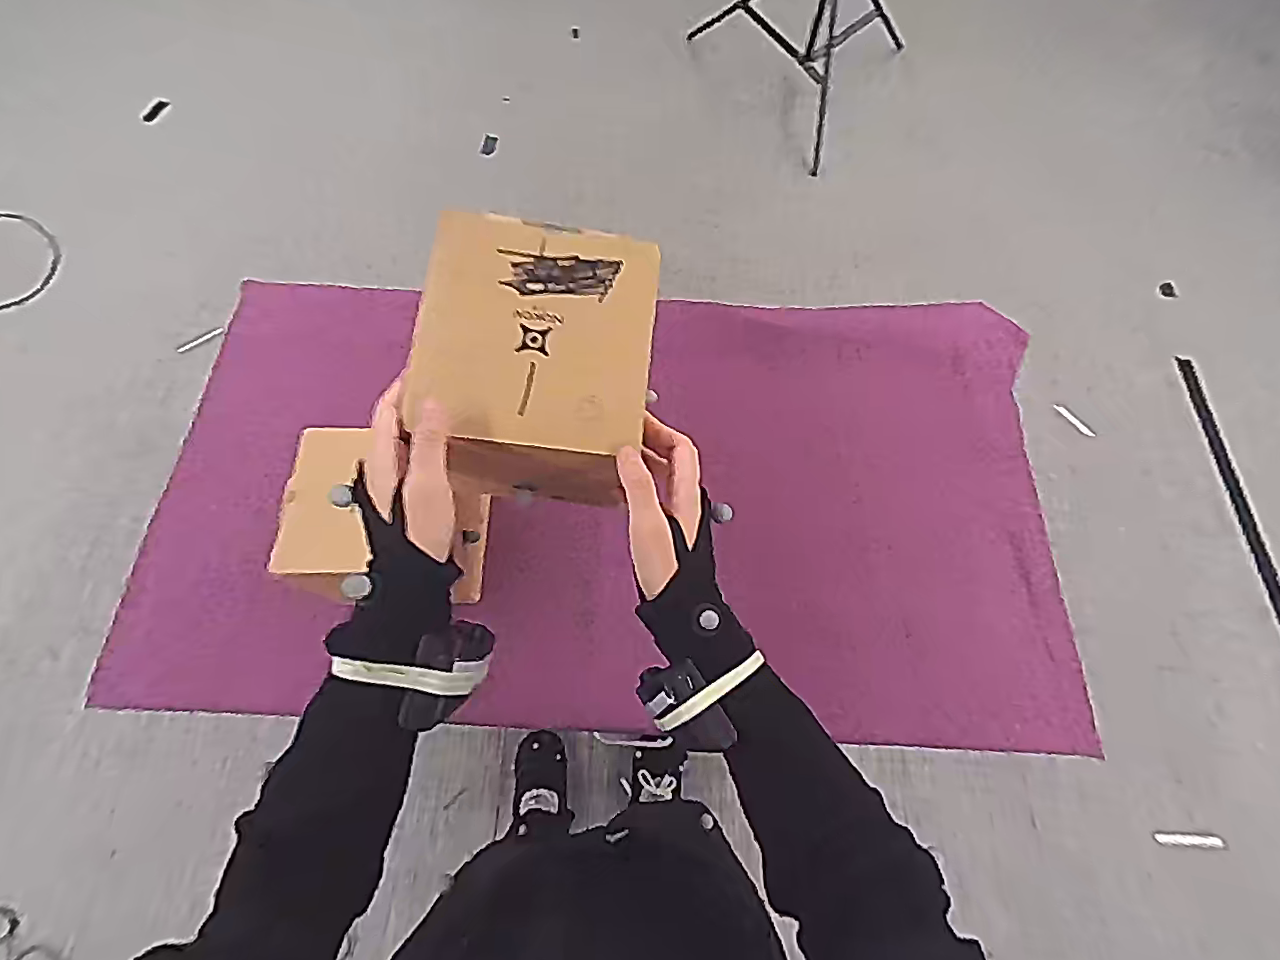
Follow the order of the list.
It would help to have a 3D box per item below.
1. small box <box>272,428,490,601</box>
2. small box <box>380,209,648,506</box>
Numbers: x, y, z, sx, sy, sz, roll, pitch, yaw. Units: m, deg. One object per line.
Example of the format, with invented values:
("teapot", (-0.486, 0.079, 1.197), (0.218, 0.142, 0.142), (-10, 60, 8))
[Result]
("small box", (-0.288, 0.049, 0.651), (0.179, 0.176, 0.168), (0, 68, -1))
("small box", (-0.093, -0.086, 0.459), (0.168, 0.176, 0.179), (7, 76, -5))
